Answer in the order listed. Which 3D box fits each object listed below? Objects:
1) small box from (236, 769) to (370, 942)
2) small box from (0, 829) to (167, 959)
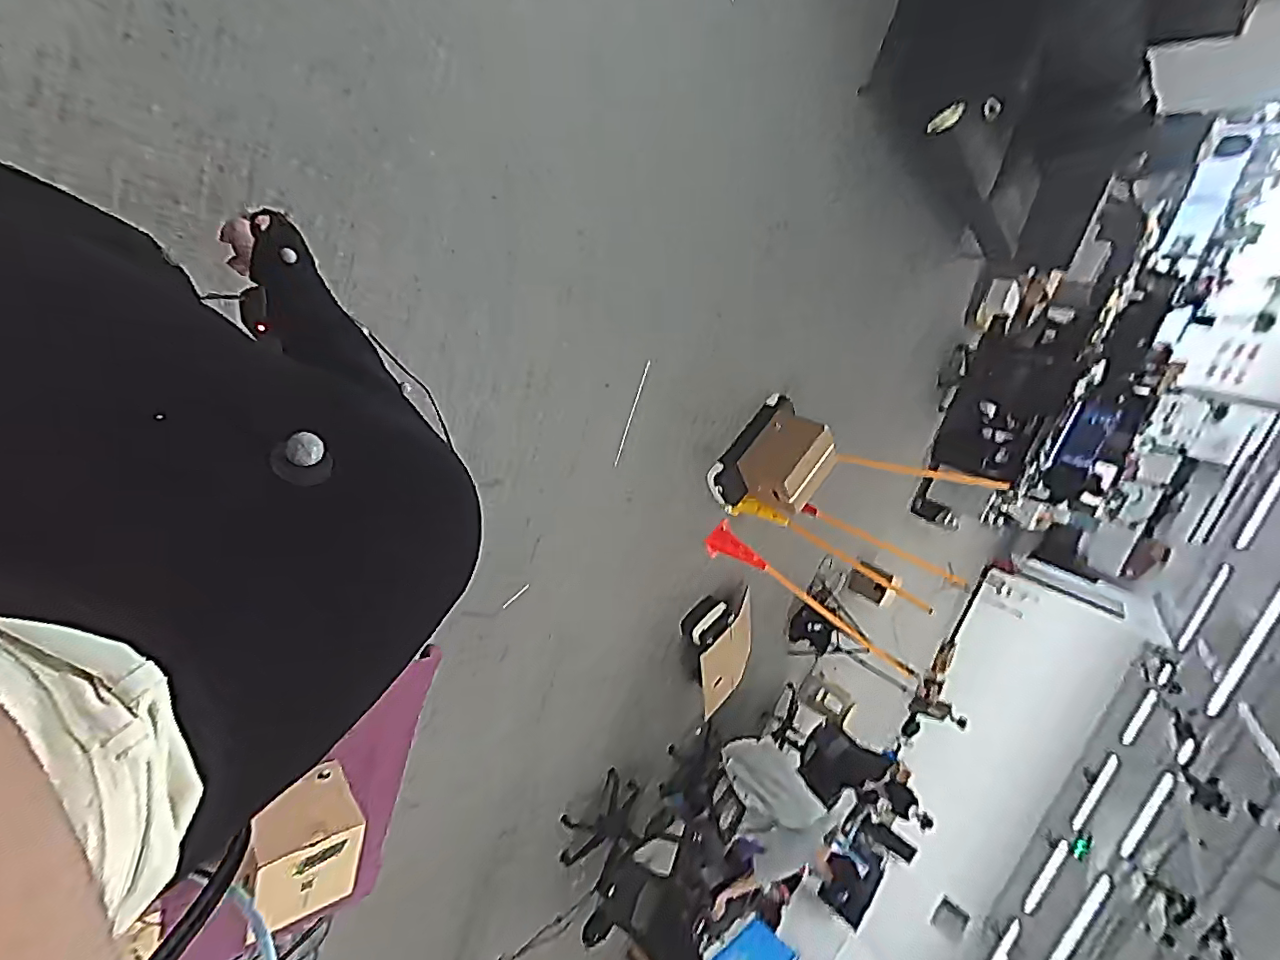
[{"bbox_3d":[-0.624,0.669,0.995,0.168,0.176,0.179,1,111,-46],"label":"small box"},{"bbox_3d":[-0.819,0.667,0.791,0.179,0.176,0.168,1,111,-46],"label":"small box"}]
